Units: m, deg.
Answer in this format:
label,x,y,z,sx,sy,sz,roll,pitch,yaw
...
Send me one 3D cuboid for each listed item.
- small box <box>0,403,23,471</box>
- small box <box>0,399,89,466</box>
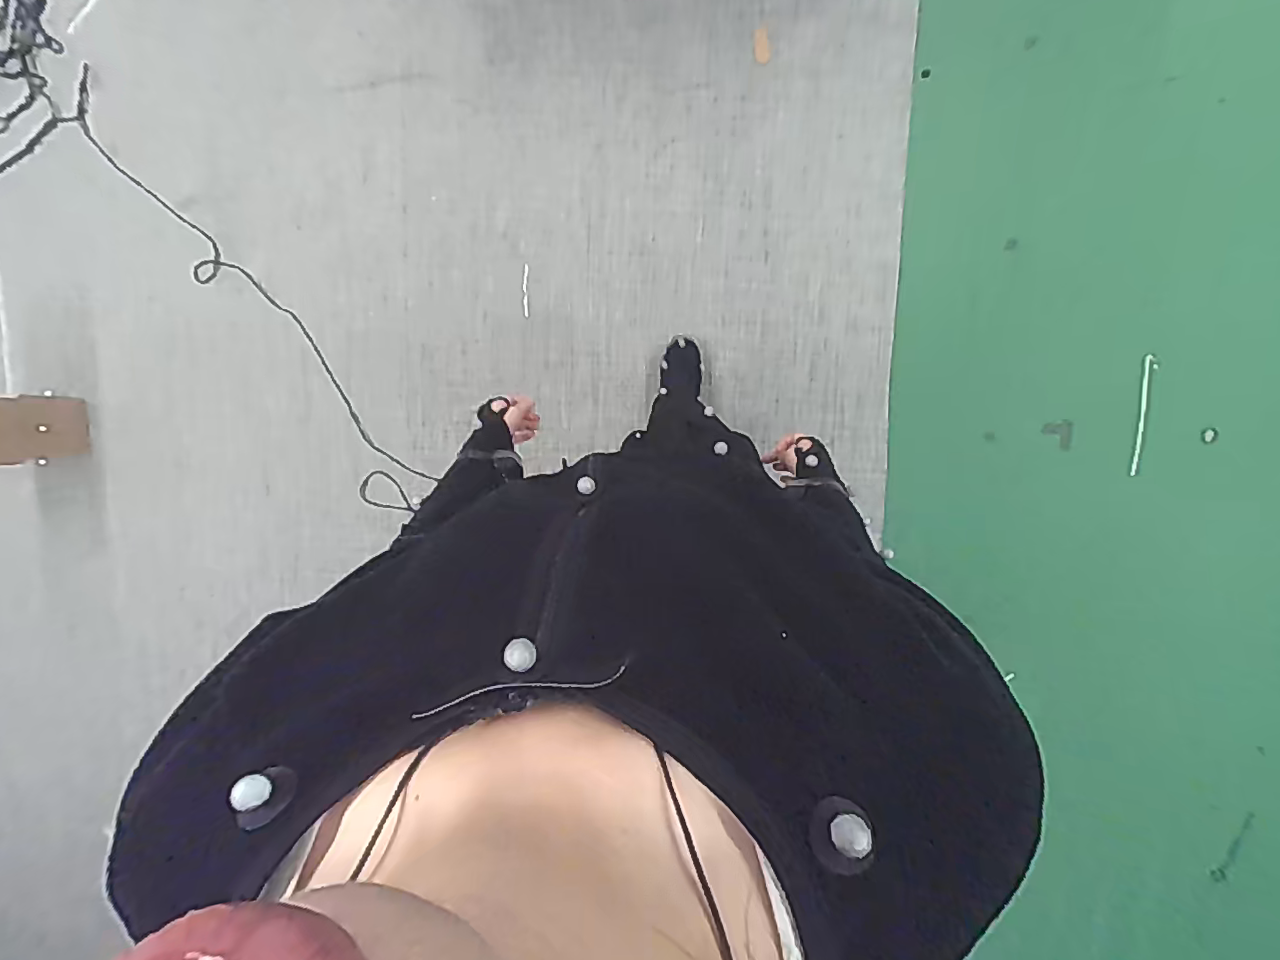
label,x,y,z,sx,sy,sz,roll,pitch,yaw
small box,-1.695,-0.107,1.335,0.168,0.176,0.179,1,95,1
small box,-1.687,-0.132,1.497,0.168,0.176,0.179,1,94,2
